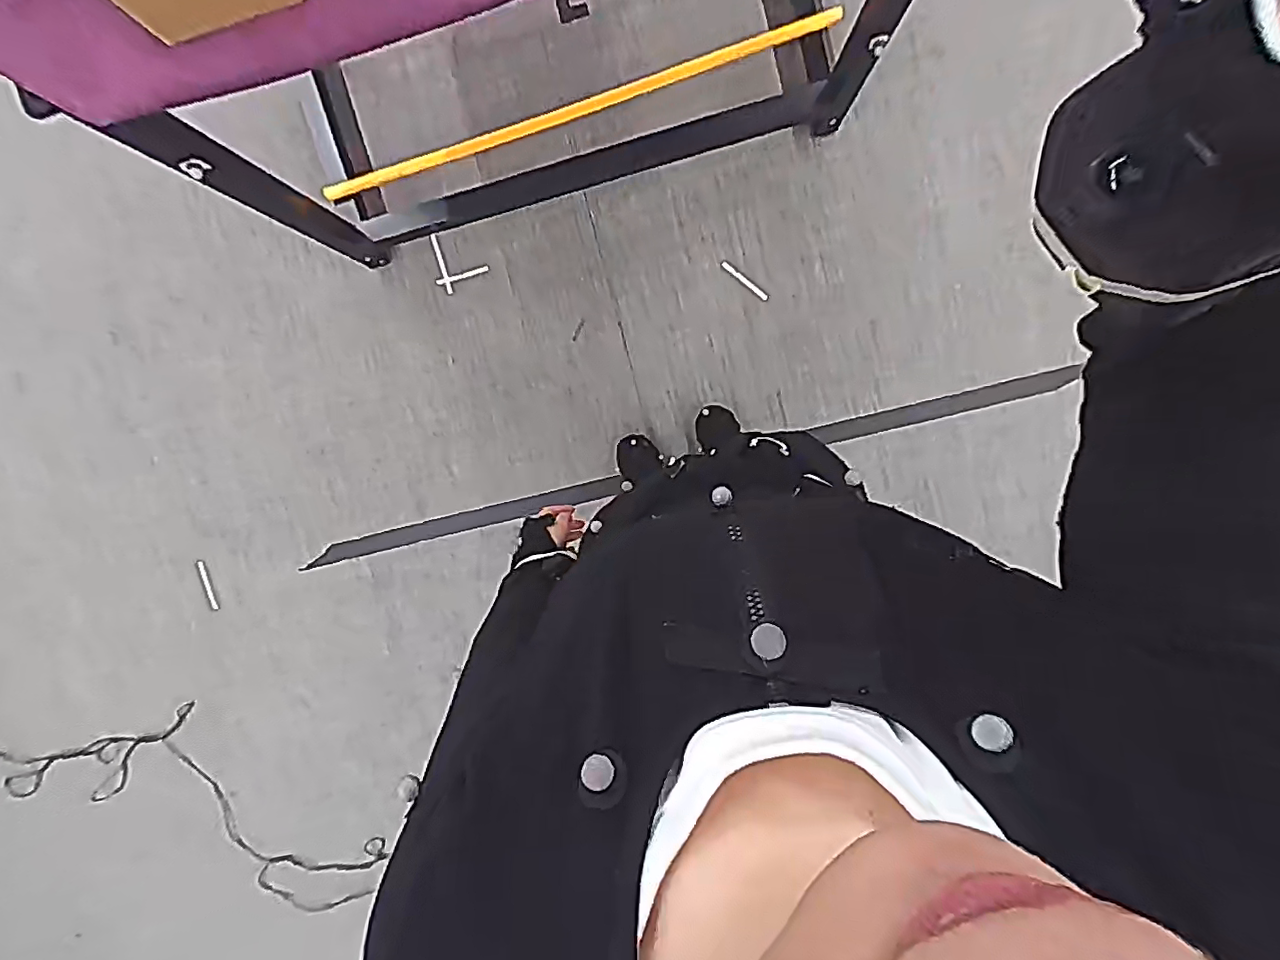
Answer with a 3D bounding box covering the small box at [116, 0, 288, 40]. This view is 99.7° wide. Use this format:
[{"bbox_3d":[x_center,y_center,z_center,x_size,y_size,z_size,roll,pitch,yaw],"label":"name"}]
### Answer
[{"bbox_3d":[-0.486,-0.589,0.530,0.179,0.176,0.168,-16,94,4],"label":"small box"}]
